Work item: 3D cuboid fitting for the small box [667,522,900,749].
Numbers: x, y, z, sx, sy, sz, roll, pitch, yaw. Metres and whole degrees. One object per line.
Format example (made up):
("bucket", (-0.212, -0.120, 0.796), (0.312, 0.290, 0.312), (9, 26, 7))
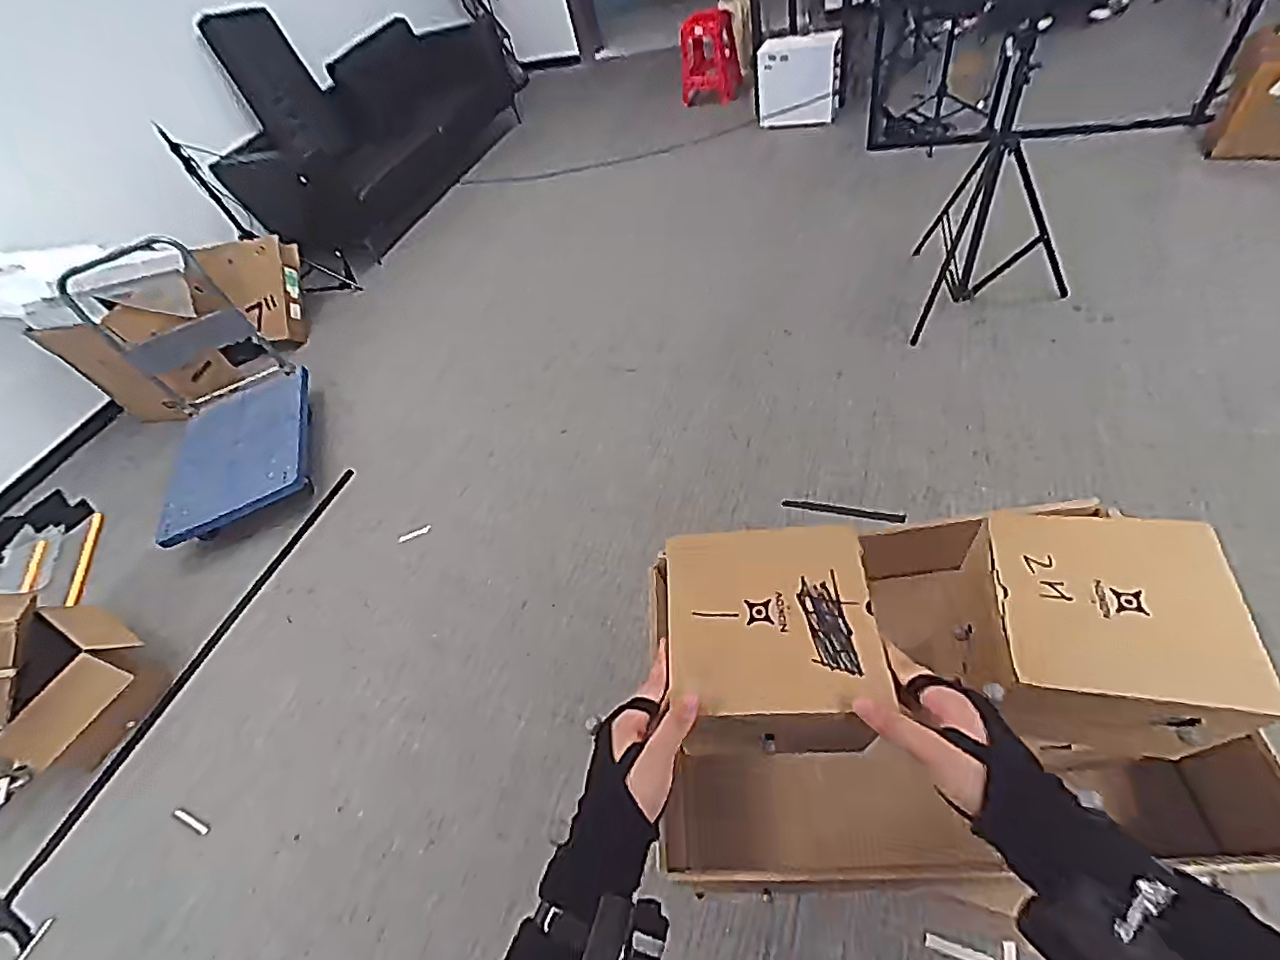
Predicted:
("small box", (0.121, 0.154, 0.517), (0.179, 0.176, 0.168), (-5, 56, 9))

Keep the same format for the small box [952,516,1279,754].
("small box", (0.423, 0.152, 0.523), (0.179, 0.176, 0.168), (1, 54, 19))
